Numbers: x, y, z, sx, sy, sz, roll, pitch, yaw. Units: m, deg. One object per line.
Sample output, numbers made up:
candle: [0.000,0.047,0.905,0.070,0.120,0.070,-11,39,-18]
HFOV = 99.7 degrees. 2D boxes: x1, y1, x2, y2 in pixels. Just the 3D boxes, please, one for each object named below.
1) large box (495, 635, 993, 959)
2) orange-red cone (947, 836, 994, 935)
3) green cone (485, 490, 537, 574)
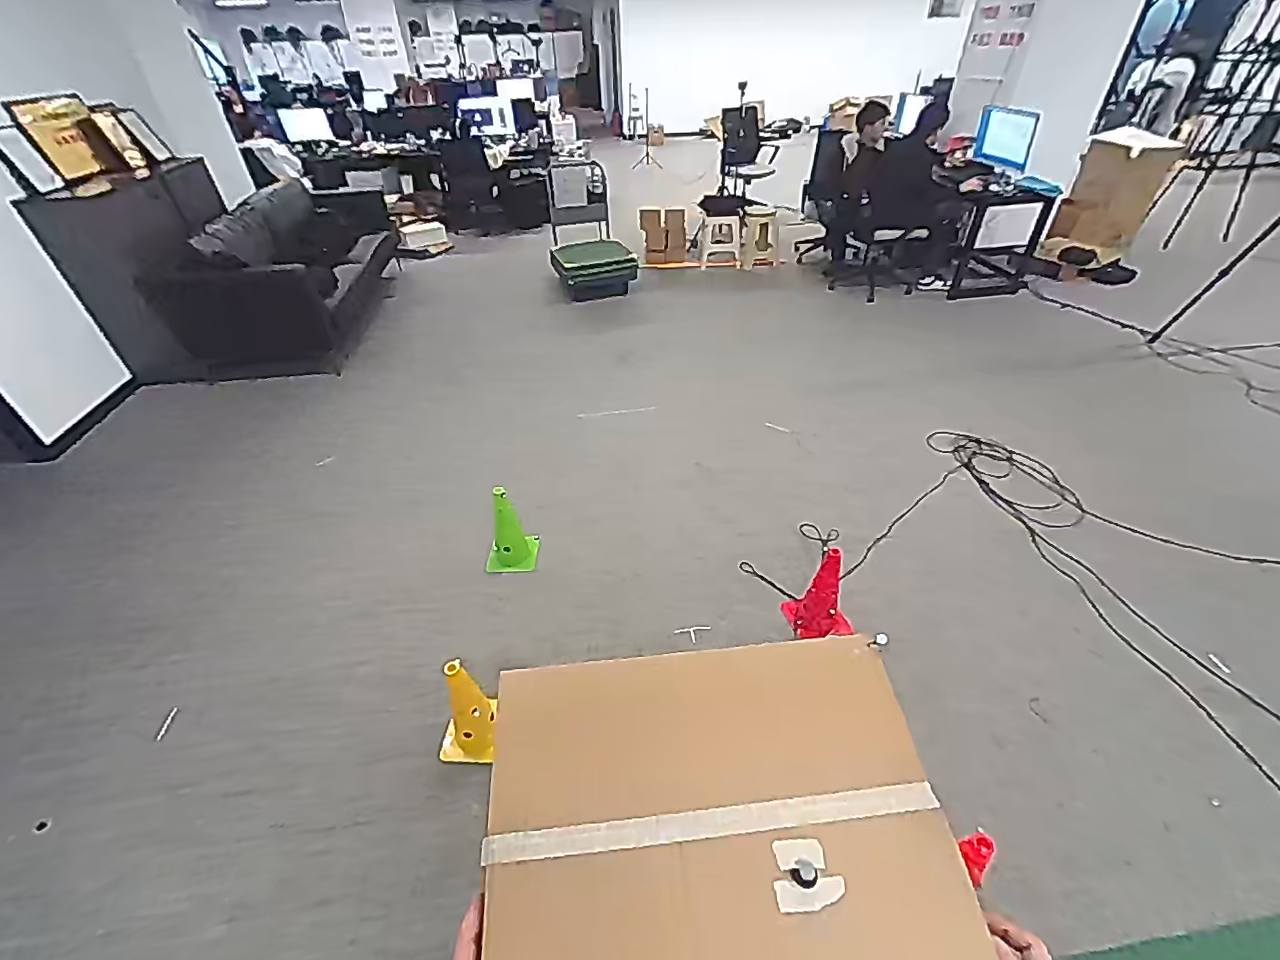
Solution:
large box: [0.070,0.403,0.607,0.408,0.320,0.320,-5,52,-4]
orange-red cone: [0.717,0.891,1.231,0.199,0.360,0.198,0,40,0]
green cone: [-0.547,0.185,2.166,0.200,0.368,0.202,-2,40,0]
